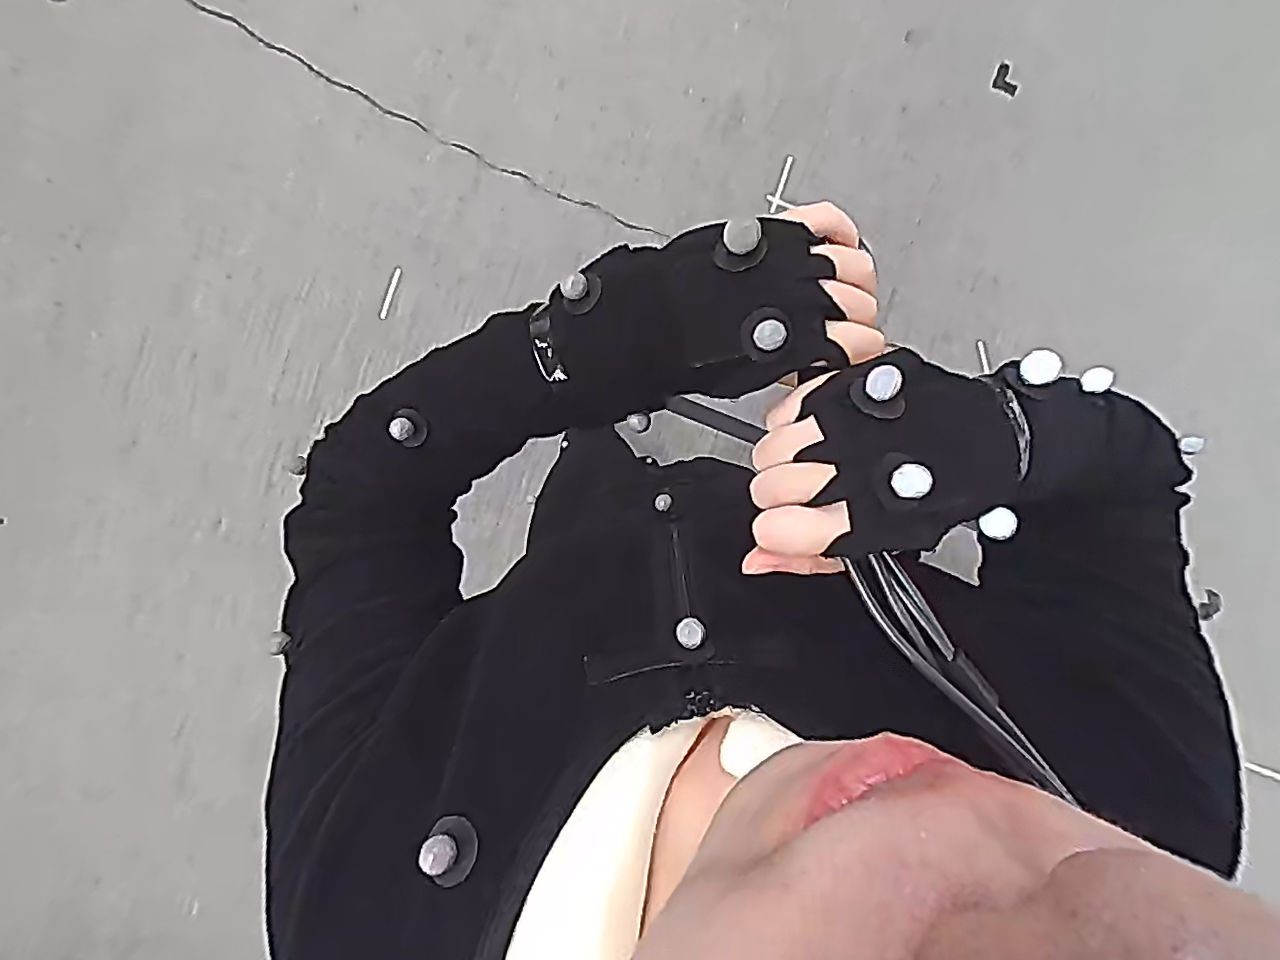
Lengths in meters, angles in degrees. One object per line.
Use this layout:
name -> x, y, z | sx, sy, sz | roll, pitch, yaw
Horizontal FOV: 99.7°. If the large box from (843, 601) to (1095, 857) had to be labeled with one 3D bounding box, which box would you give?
large box -> 0.719, 0.541, 1.242 | 0.320, 0.320, 0.408 | 15, 95, -3
